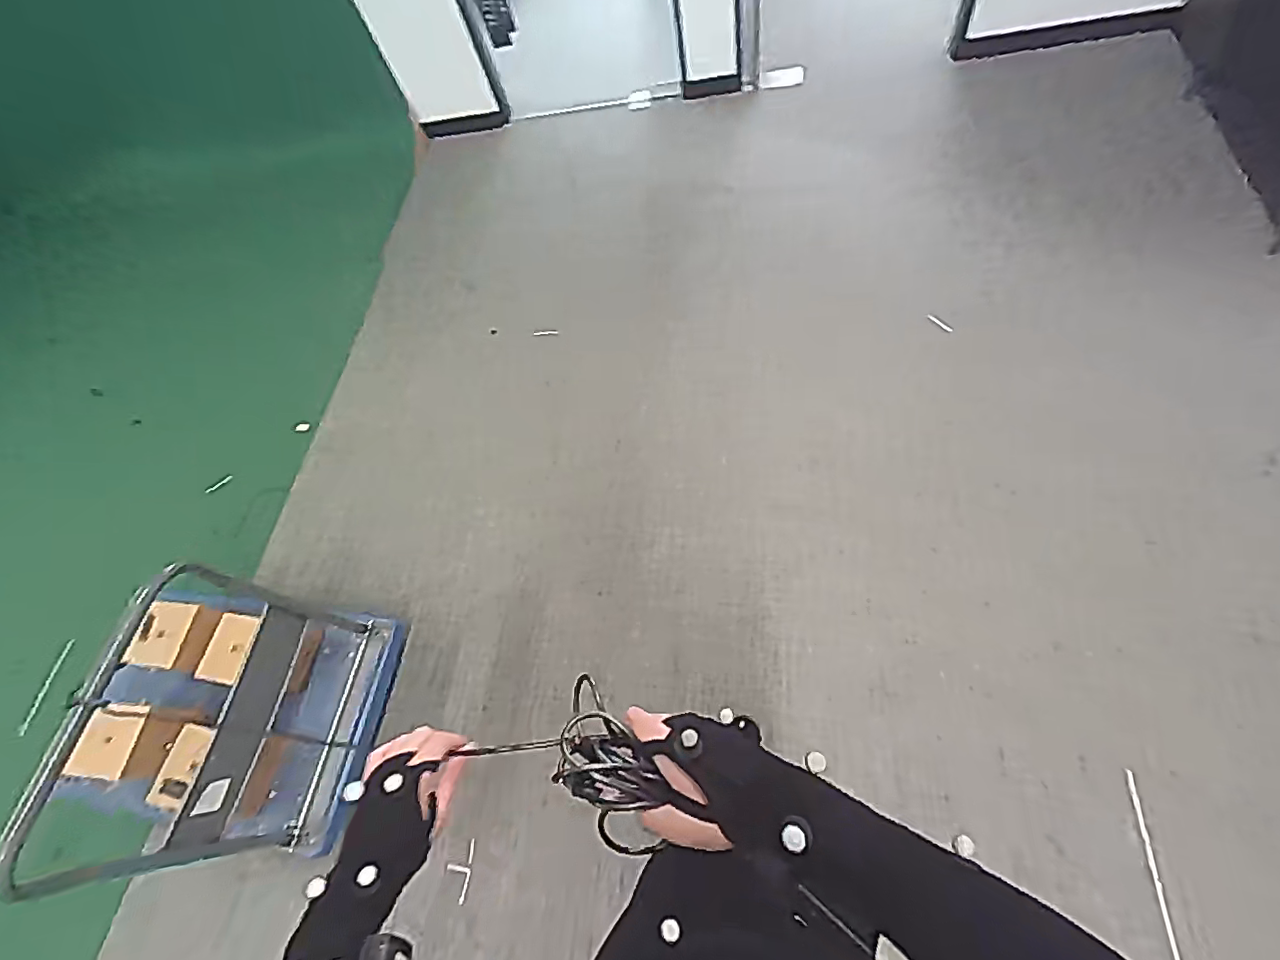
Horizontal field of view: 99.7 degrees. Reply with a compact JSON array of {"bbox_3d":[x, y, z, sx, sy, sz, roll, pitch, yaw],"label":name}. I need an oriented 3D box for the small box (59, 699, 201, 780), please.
[{"bbox_3d":[-1.292,0.664,1.387,0.179,0.176,0.168,0,63,11],"label":"small box"}]

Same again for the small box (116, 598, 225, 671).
[{"bbox_3d":[-1.260,0.433,1.496,0.179,0.176,0.168,2,65,11],"label":"small box"}]

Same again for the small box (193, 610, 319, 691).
[{"bbox_3d":[-1.010,0.458,1.438,0.179,0.176,0.168,5,65,13],"label":"small box"}]
